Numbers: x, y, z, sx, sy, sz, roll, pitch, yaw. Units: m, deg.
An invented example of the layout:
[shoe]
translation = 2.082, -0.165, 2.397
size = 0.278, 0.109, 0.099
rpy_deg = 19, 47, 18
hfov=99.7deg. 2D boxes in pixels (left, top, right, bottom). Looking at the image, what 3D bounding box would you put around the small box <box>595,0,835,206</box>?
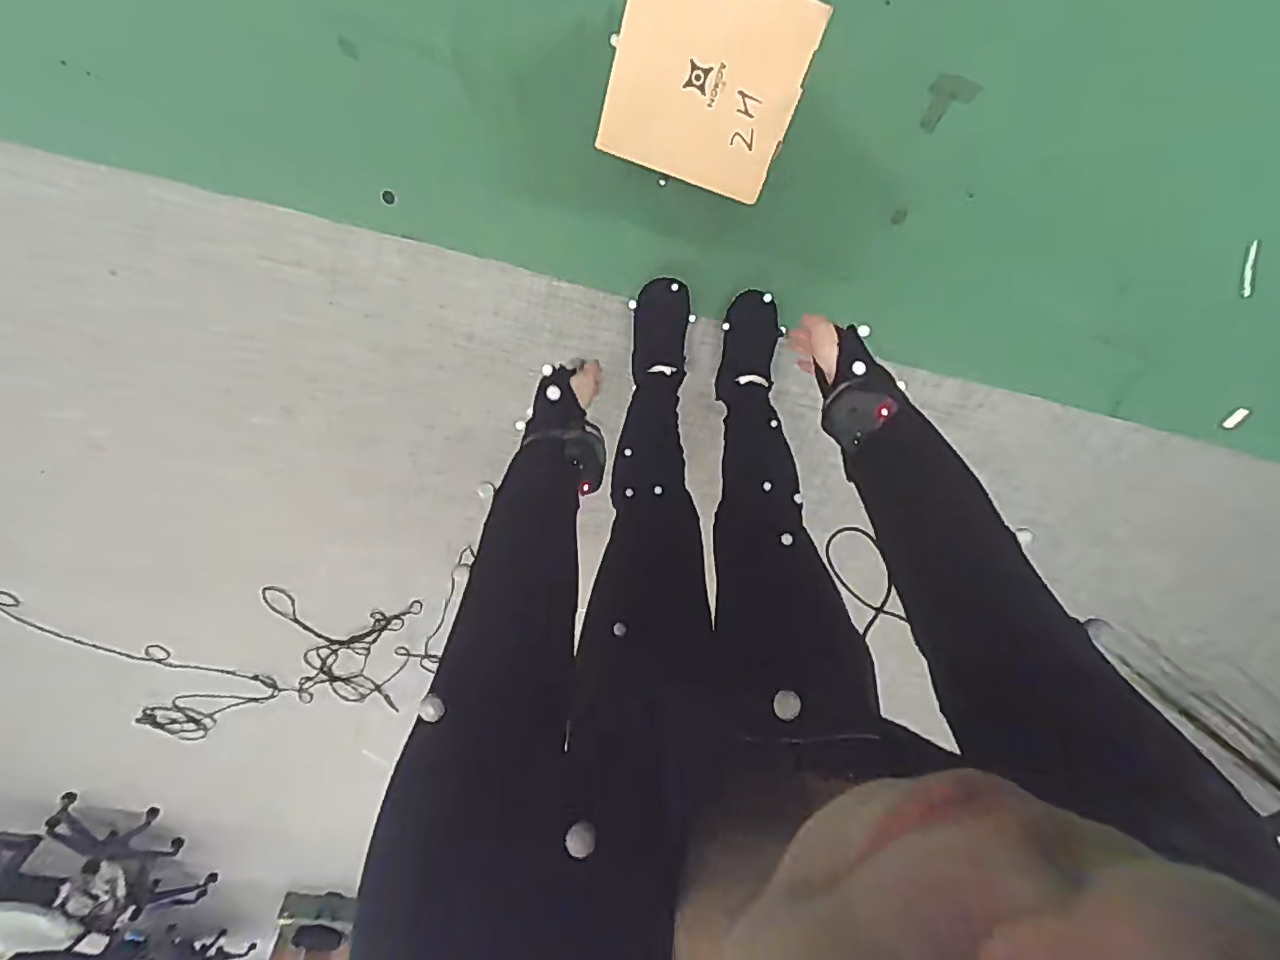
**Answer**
[small box]
translation = 0.065, -0.412, 0.560
size = 0.179, 0.176, 0.168
rpy_deg = 15, 127, -9
